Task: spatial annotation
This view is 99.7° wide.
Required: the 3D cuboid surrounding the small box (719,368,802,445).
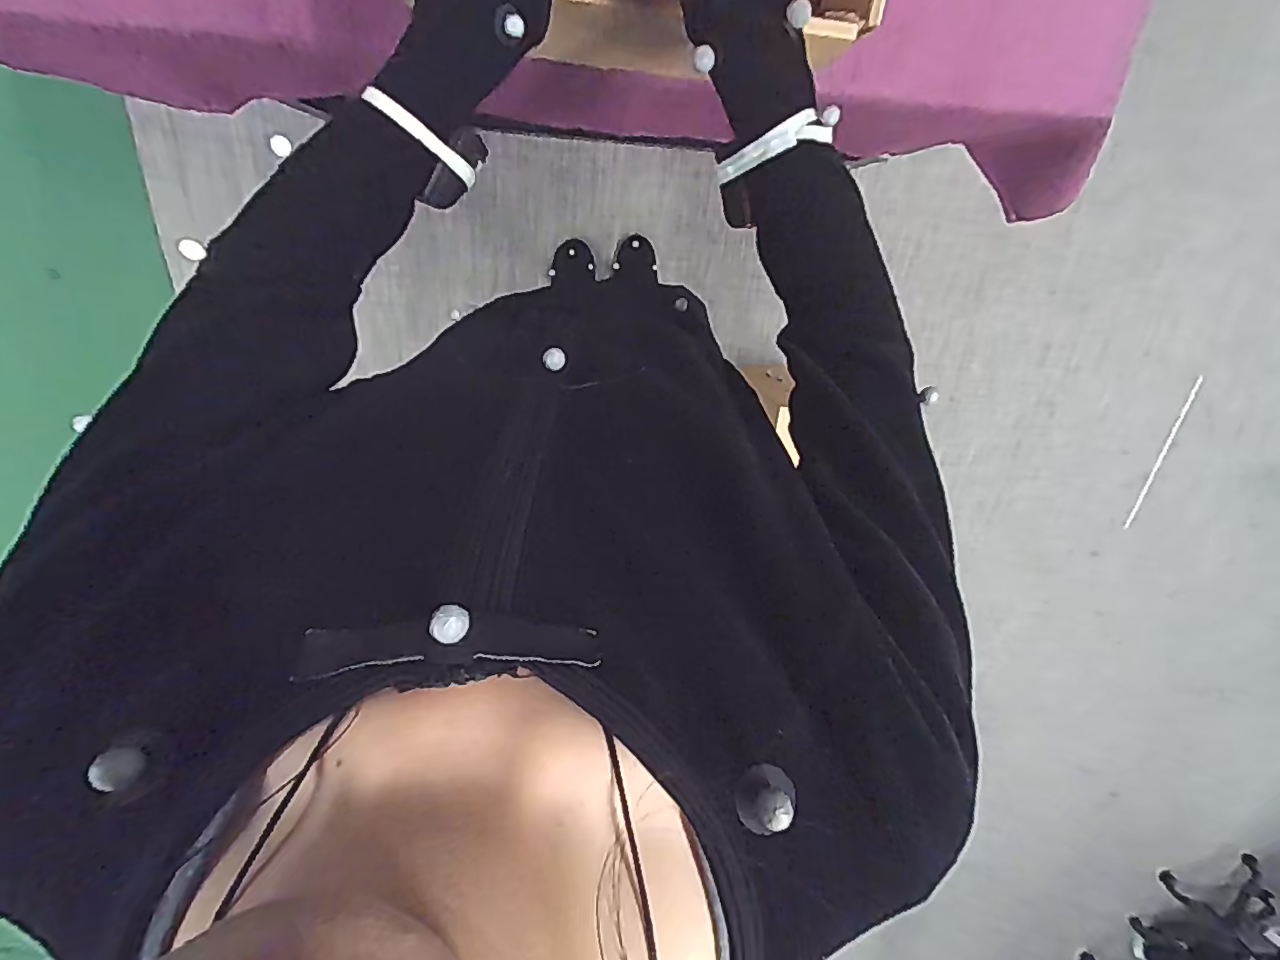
[{"bbox_3d":[0.309,-0.197,1.427,0.179,0.176,0.168,-2,113,-3],"label":"small box"}]
